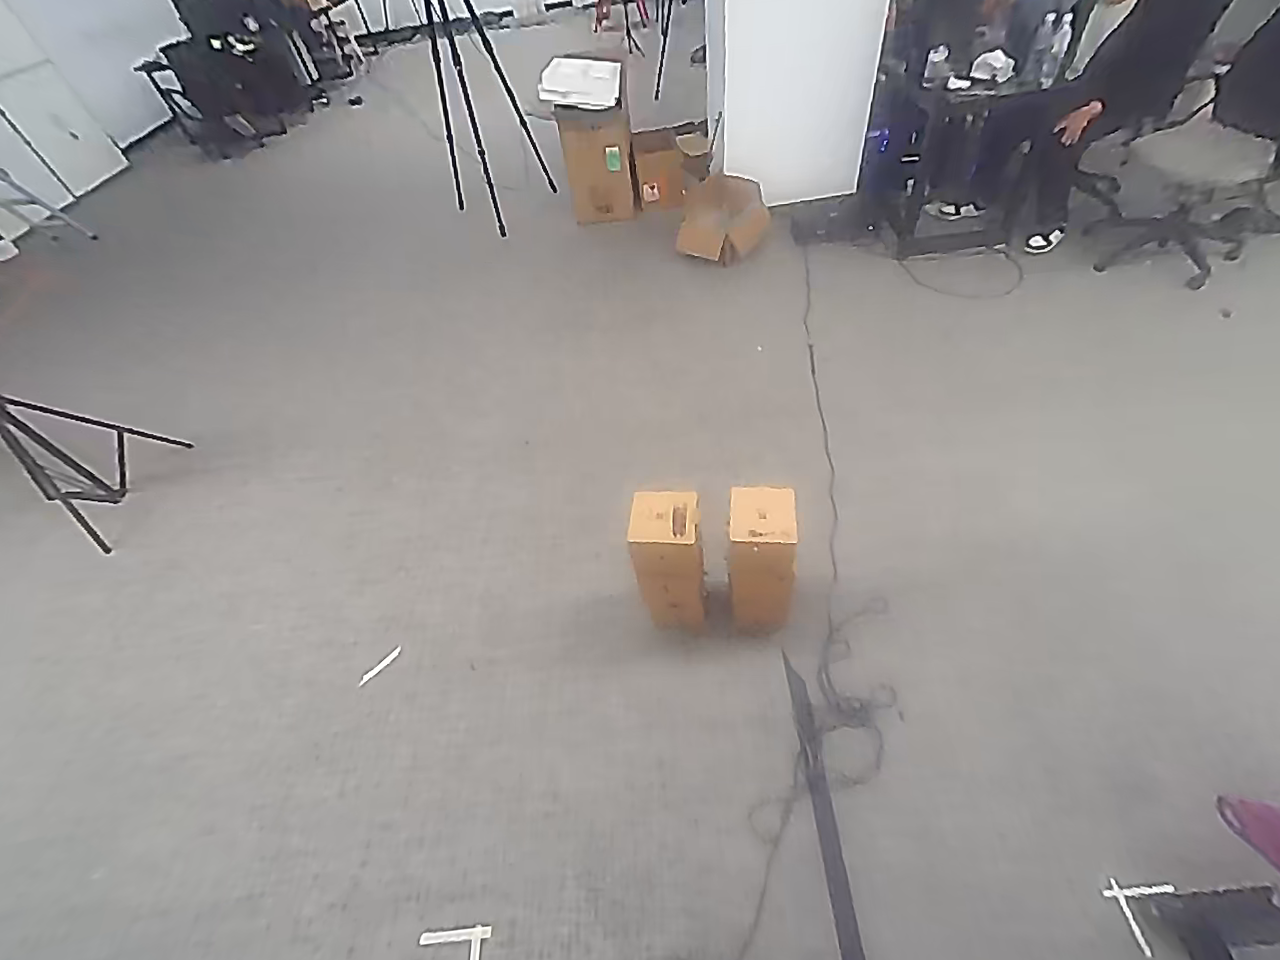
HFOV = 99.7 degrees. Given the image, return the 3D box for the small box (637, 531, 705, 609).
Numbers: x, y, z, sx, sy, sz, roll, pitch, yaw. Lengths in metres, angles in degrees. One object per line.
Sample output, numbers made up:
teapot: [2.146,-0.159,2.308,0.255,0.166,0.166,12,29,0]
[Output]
small box: [0.098,0.265,1.584,0.179,0.176,0.168,0,49,11]

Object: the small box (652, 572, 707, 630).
small box: [0.125,0.359,1.716,0.168,0.176,0.179,-3,50,8]

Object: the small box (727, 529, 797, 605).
small box: [0.349,0.249,1.561,0.179,0.176,0.168,-4,49,6]

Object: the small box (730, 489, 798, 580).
small box: [0.325,0.145,1.437,0.168,0.176,0.179,1,49,11]

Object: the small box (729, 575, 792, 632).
small box: [0.369,0.354,1.684,0.168,0.176,0.179,-6,49,5]
